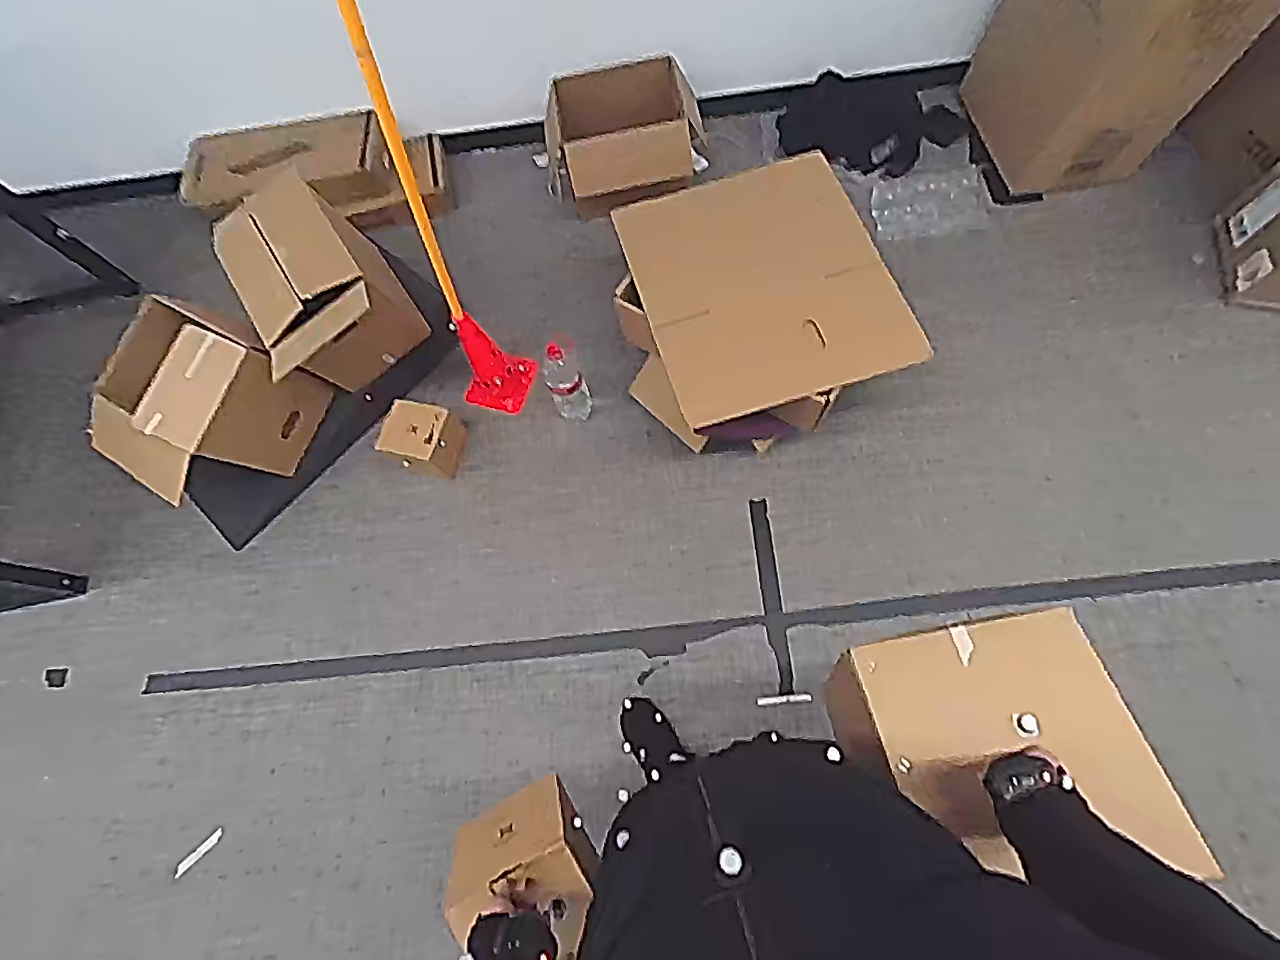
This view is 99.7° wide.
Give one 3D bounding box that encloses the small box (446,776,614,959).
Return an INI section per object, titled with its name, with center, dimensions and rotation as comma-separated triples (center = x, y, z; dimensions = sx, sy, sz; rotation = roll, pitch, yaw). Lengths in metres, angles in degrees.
[small box]
center = -0.150, 0.574, 0.760
dimensions = 0.168, 0.179, 0.176
rotation = -26, 94, -12
